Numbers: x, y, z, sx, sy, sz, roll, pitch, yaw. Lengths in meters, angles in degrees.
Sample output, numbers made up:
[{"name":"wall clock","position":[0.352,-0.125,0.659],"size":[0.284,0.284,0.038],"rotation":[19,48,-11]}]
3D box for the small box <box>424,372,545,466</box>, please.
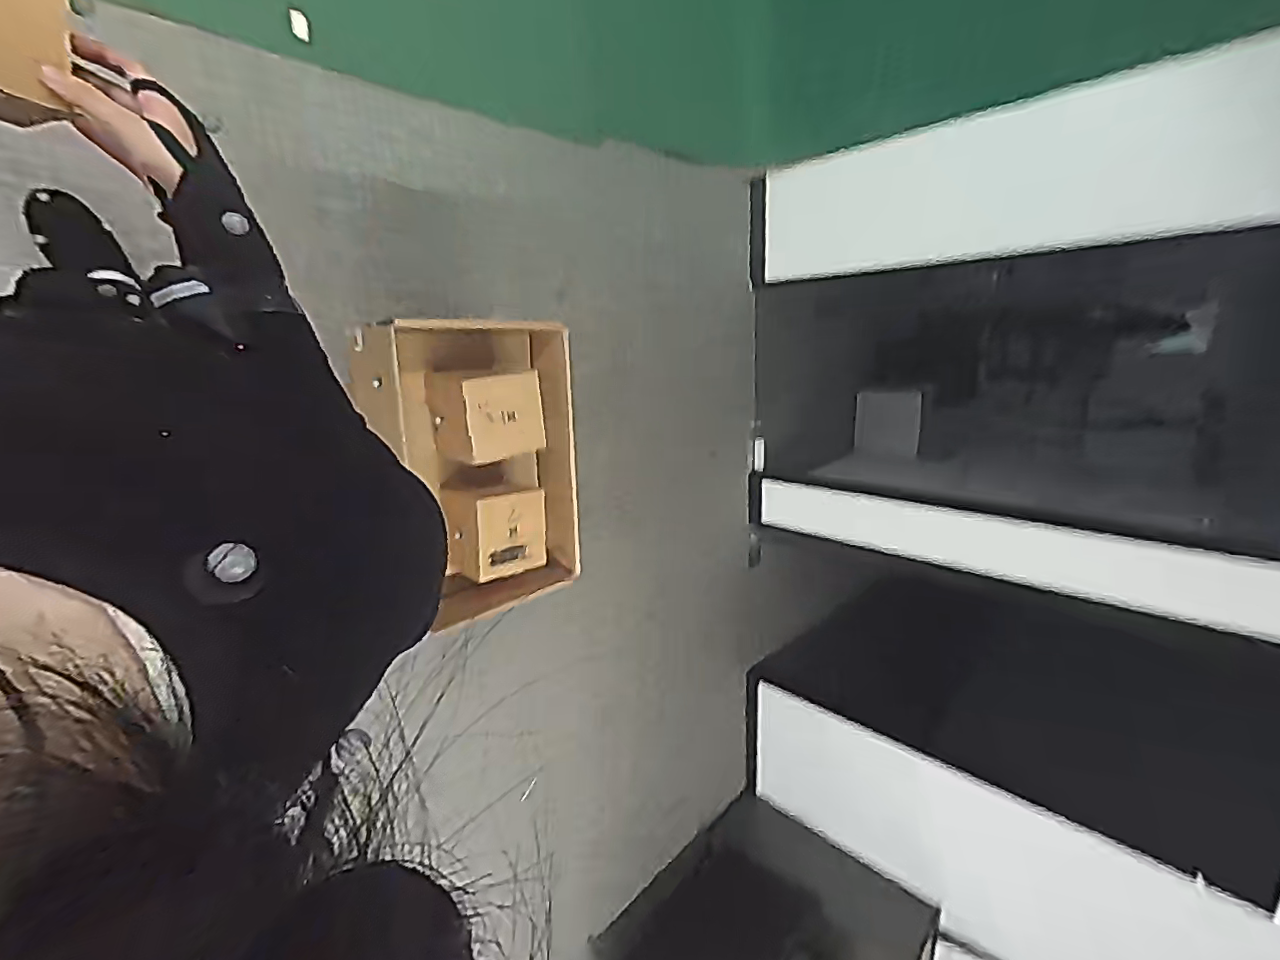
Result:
[{"name":"small box","position":[-0.327,-0.137,1.142],"size":[0.179,0.176,0.168],"rotation":[-18,112,-42]}]
